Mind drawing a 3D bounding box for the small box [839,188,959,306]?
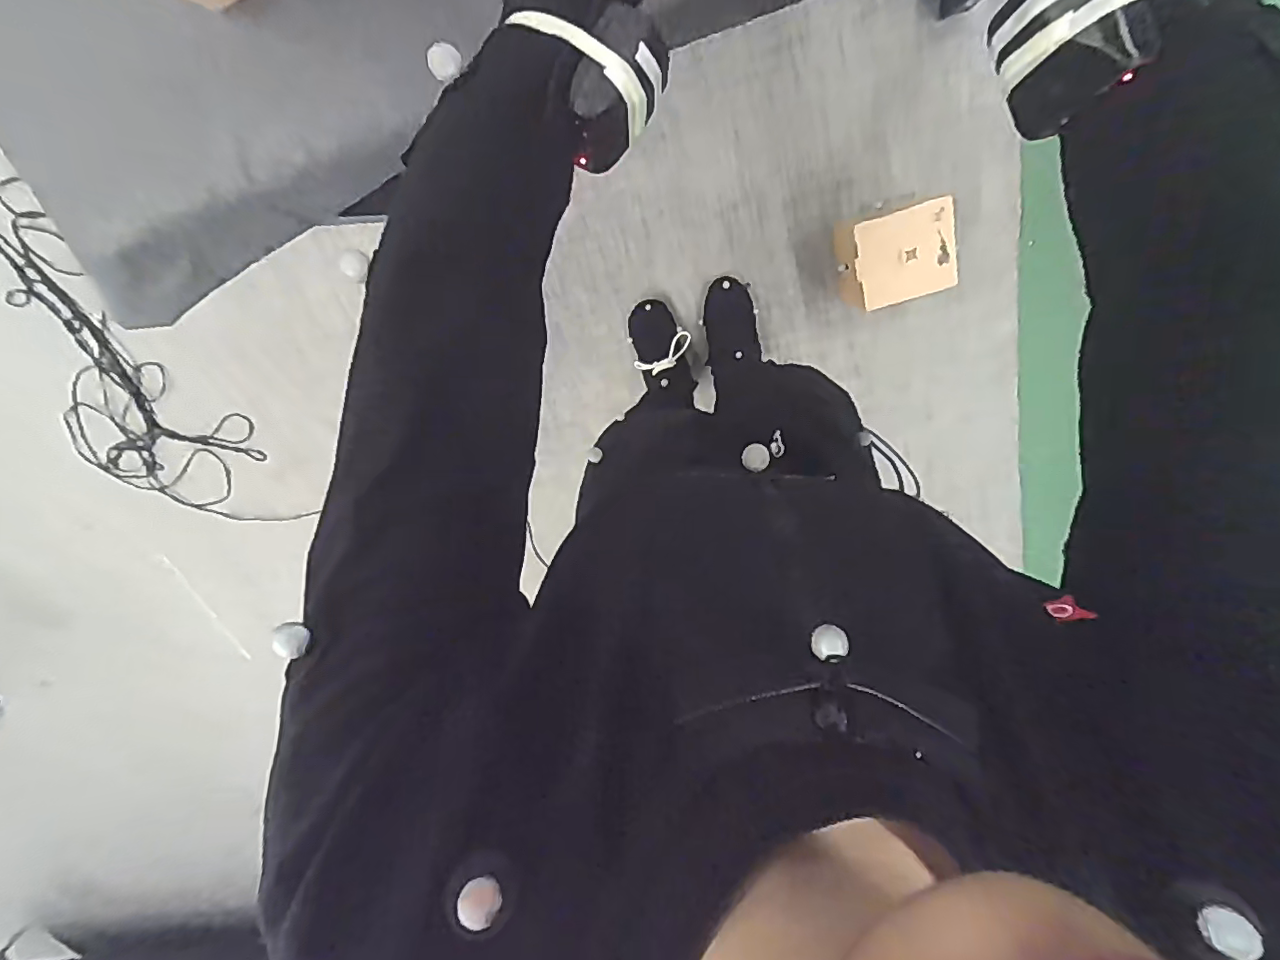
[{"bbox_3d":[0.508,-0.464,1.083,0.179,0.176,0.168,-14,113,13],"label":"small box"}]
